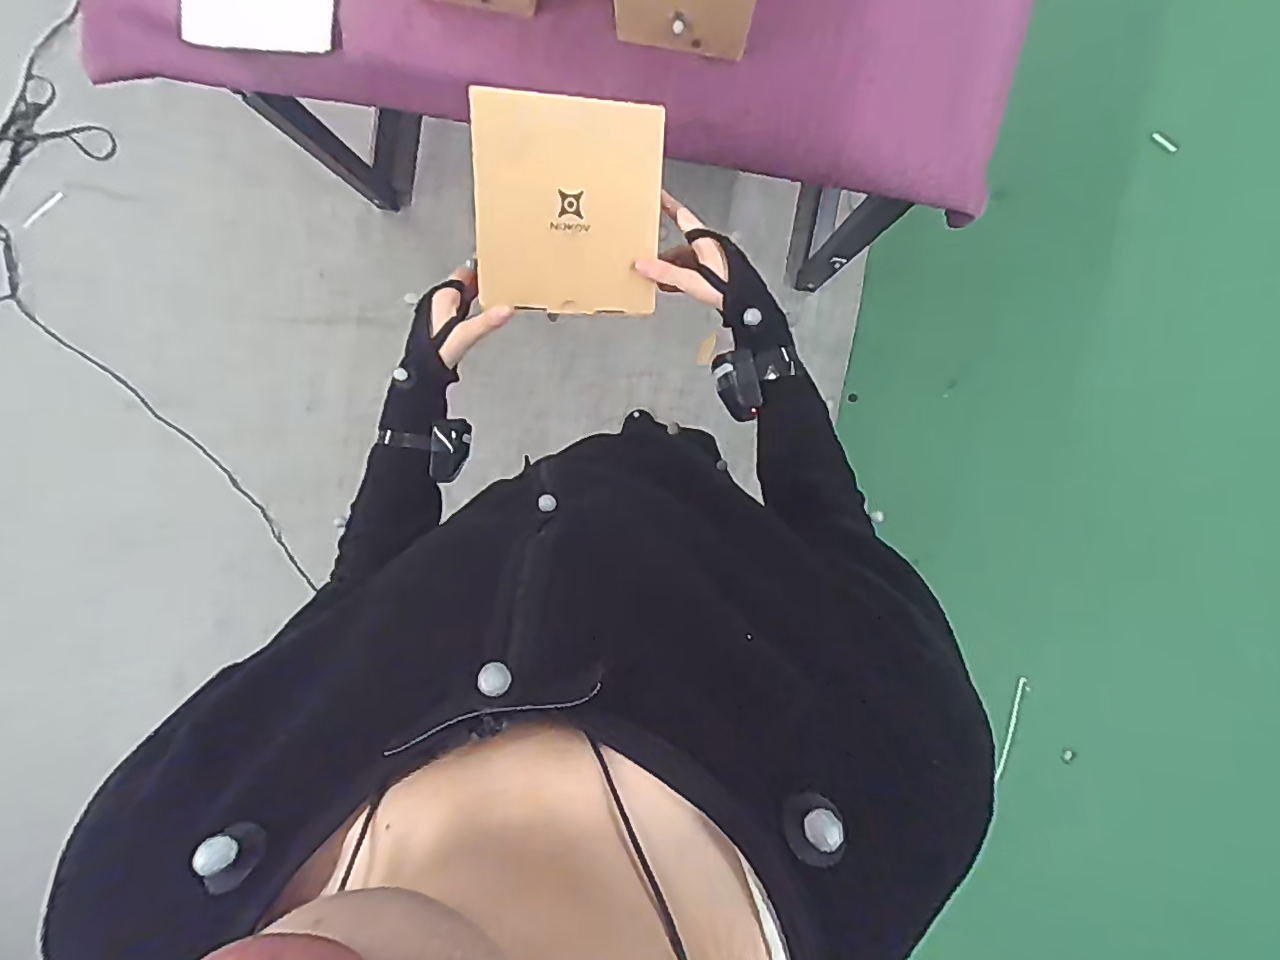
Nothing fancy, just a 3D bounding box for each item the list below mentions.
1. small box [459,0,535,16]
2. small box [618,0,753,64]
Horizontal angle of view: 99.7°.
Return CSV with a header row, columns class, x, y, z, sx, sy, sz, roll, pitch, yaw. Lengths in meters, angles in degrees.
class,x,y,z,sx,sy,sz,roll,pitch,yaw
small box,-0.205,-0.696,0.626,0.168,0.176,0.179,11,96,-1
small box,0.064,-0.639,0.624,0.168,0.176,0.179,11,94,1
